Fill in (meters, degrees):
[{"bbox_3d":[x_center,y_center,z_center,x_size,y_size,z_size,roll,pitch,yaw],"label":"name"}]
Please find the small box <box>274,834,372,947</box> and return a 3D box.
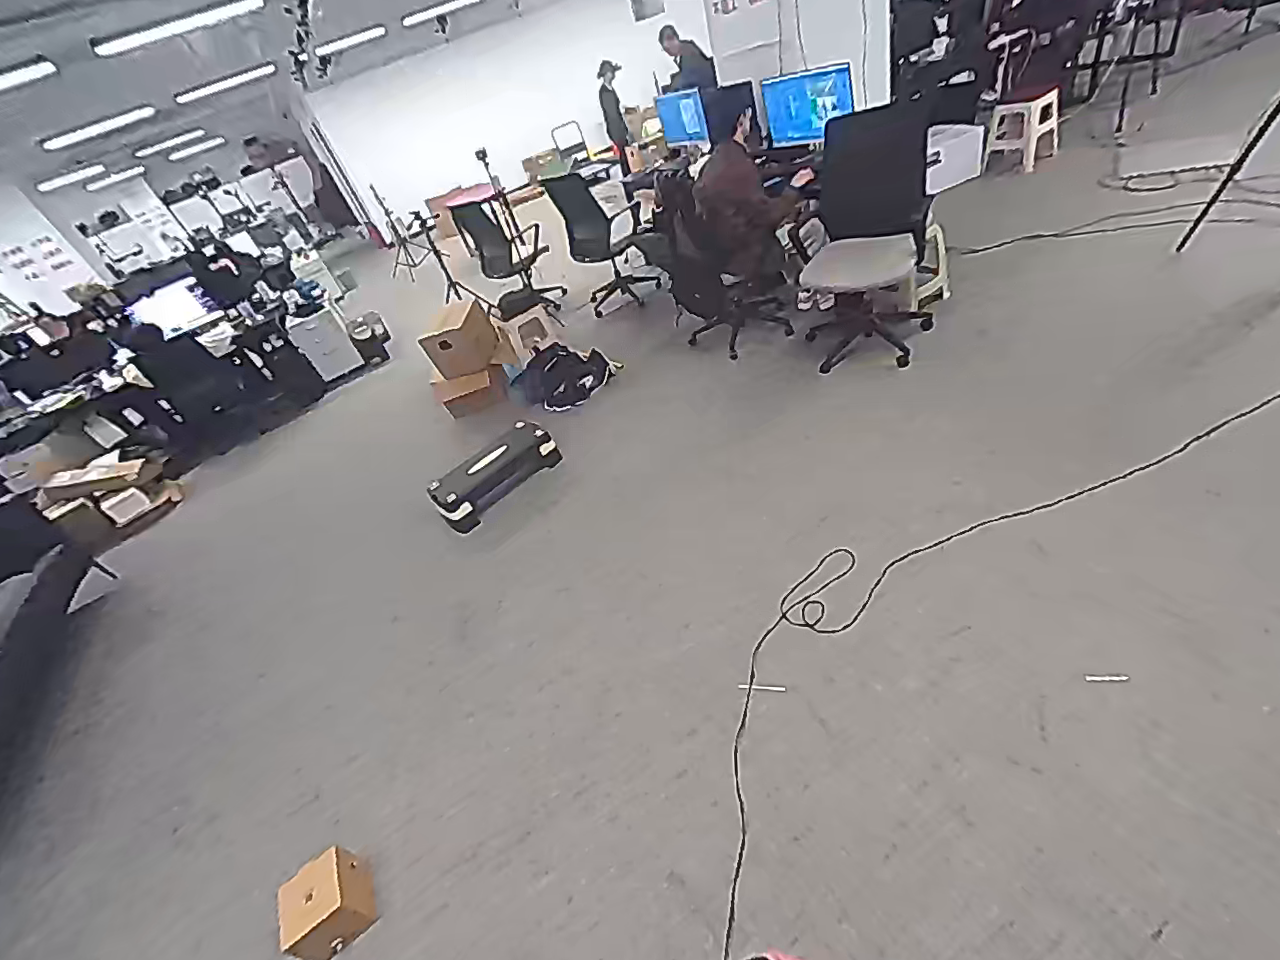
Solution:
[{"bbox_3d":[-0.875,1.138,1.497,0.168,0.176,0.179,-35,42,-16],"label":"small box"}]
